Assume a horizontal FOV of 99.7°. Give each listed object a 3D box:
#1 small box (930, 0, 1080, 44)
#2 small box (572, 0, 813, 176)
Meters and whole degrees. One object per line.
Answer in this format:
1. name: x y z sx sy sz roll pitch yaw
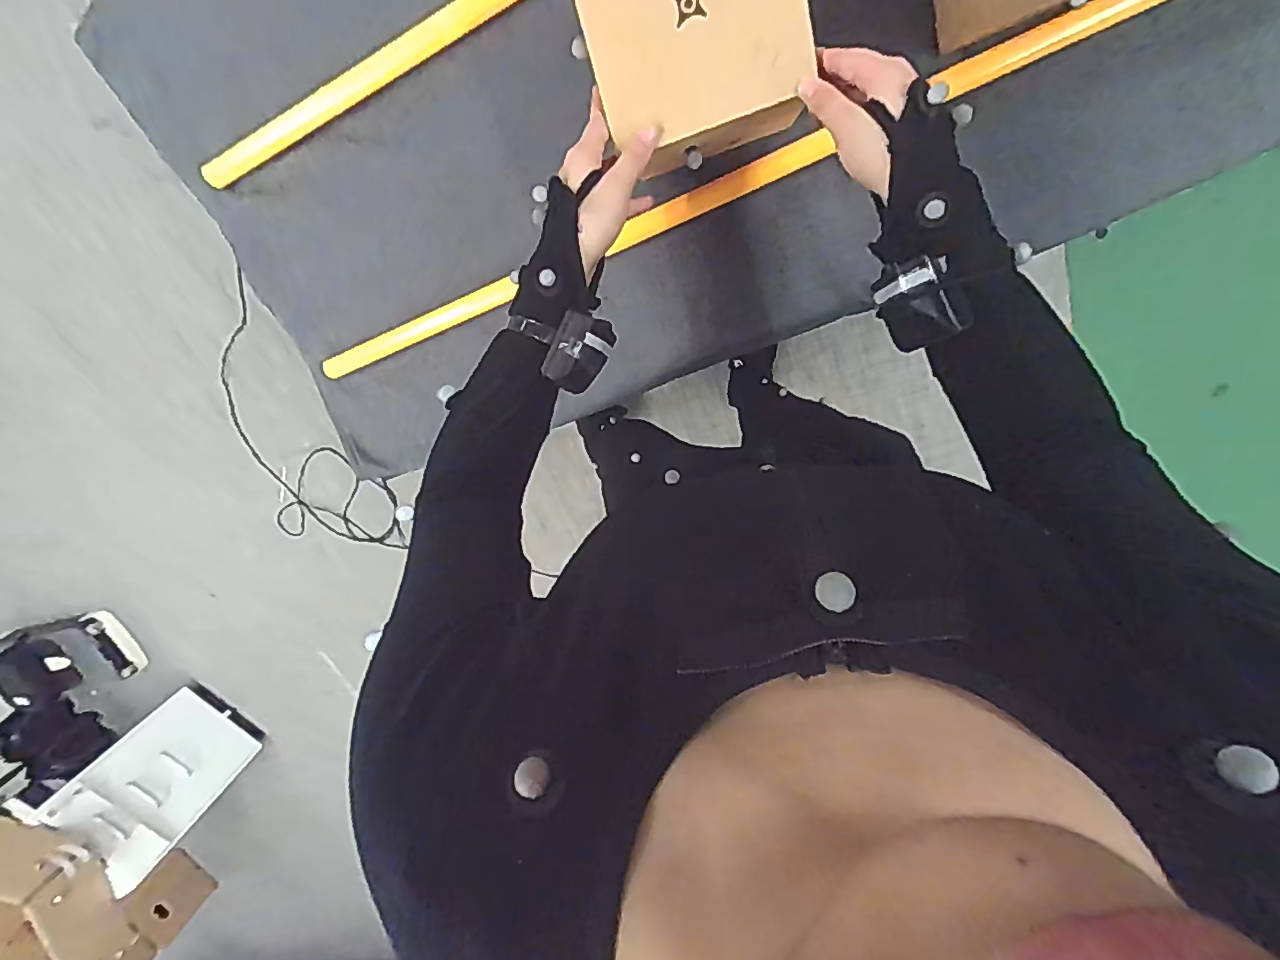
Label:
1. small box: 0.317 -0.459 0.392 0.168 0.176 0.179 -14 111 16
2. small box: 0.045 -0.384 0.472 0.168 0.176 0.179 -13 111 14
